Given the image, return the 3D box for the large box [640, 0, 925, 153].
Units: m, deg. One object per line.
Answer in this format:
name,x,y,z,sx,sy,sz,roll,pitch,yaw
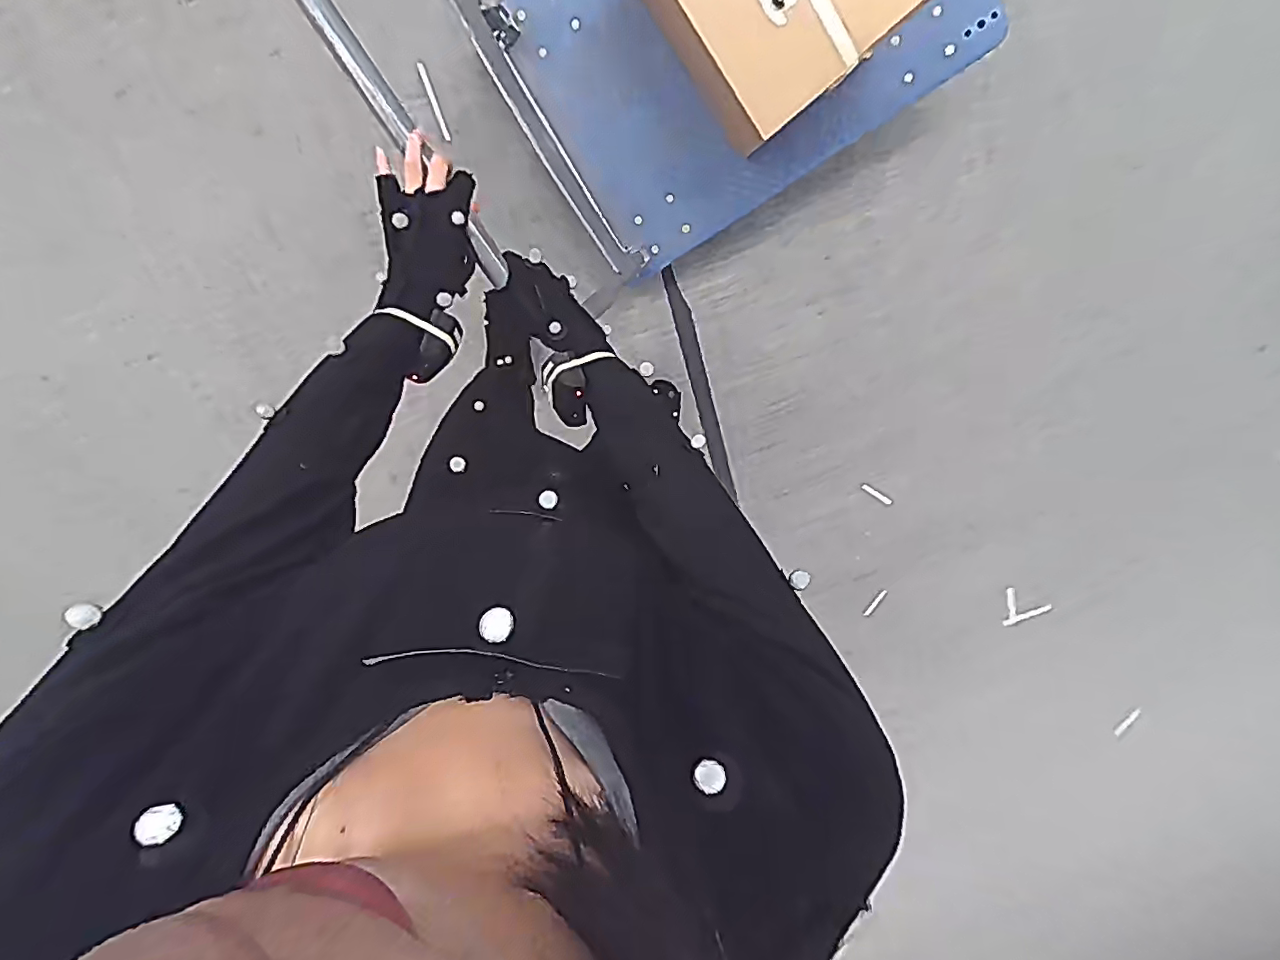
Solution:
large box,0.199,-0.832,0.883,0.320,0.320,0.408,-36,110,19
